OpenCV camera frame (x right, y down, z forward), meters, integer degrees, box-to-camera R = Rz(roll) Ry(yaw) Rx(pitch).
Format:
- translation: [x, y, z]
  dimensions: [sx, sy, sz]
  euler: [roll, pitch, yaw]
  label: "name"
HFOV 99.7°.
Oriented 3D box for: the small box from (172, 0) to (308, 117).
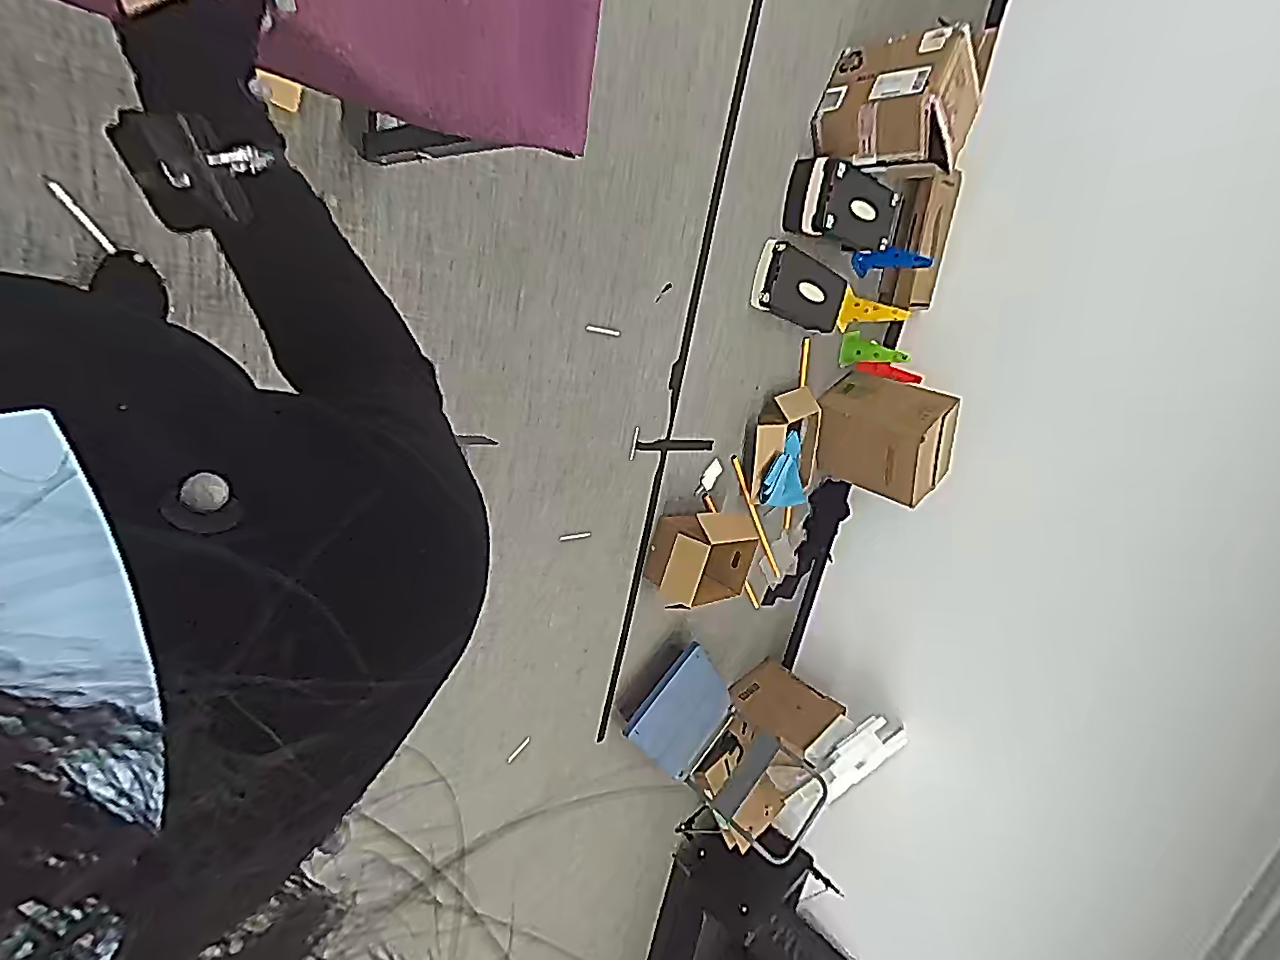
- translation: [-0.740, -0.806, 0.996]
  dimensions: [0.168, 0.176, 0.179]
  euler: [6, 104, -48]
  label: "small box"
